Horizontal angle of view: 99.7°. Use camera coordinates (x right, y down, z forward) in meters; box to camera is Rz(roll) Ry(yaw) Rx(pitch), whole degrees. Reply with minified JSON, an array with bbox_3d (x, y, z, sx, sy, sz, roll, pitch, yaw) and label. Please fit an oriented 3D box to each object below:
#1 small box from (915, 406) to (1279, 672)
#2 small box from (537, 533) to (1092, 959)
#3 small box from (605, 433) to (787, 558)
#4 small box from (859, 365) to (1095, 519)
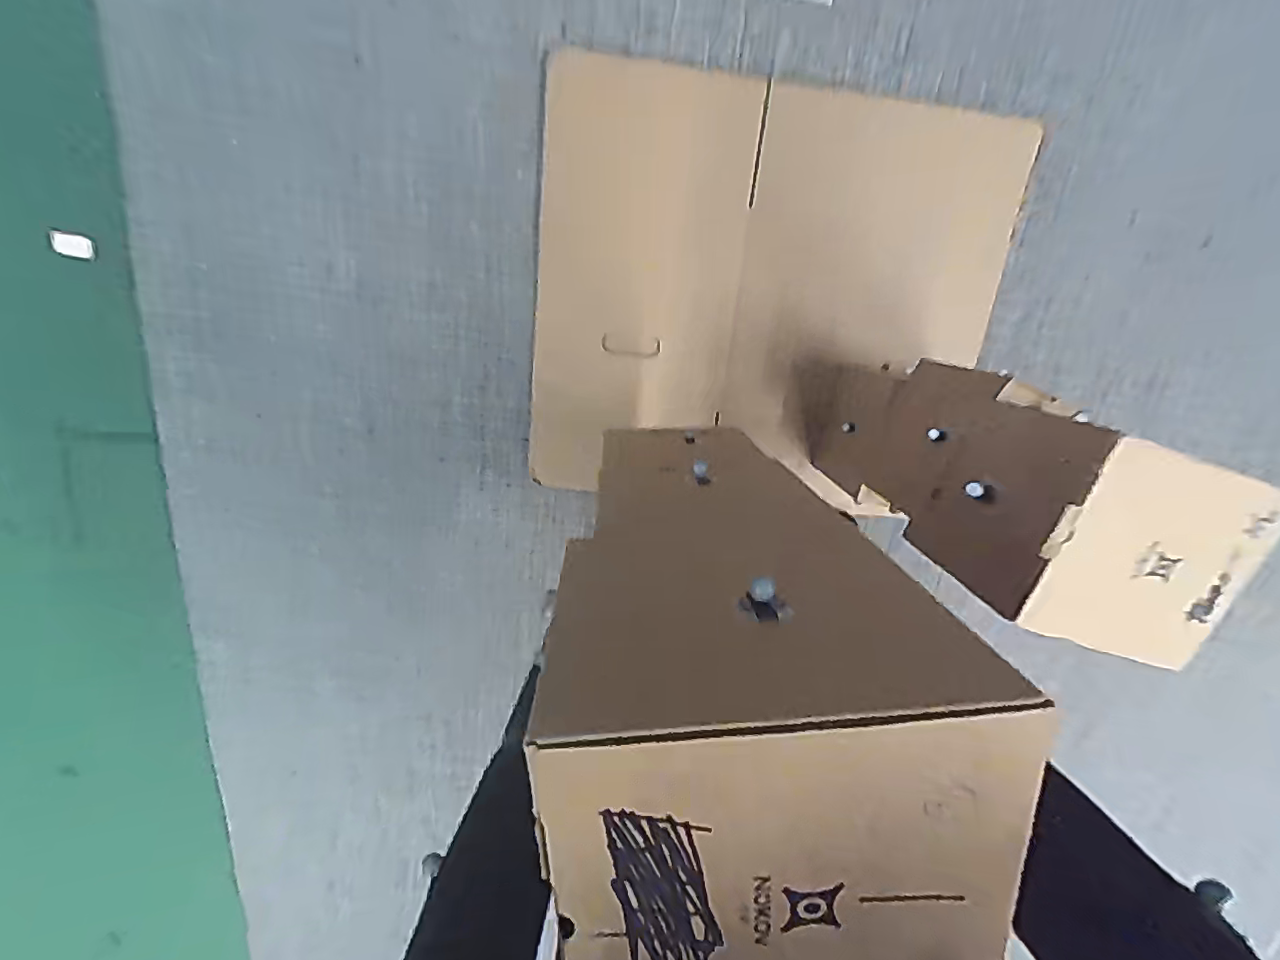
[{"bbox_3d":[0.396,0.039,0.496,0.179,0.176,0.168,17,106,-8],"label":"small box"},{"bbox_3d":[0.054,0.135,0.265,0.179,0.176,0.168,-4,107,-3],"label":"small box"},{"bbox_3d":[0.047,0.052,0.583,0.168,0.176,0.179,-1,107,-3],"label":"small box"},{"bbox_3d":[0.399,-0.022,0.648,0.168,0.176,0.179,25,105,-11],"label":"small box"}]
